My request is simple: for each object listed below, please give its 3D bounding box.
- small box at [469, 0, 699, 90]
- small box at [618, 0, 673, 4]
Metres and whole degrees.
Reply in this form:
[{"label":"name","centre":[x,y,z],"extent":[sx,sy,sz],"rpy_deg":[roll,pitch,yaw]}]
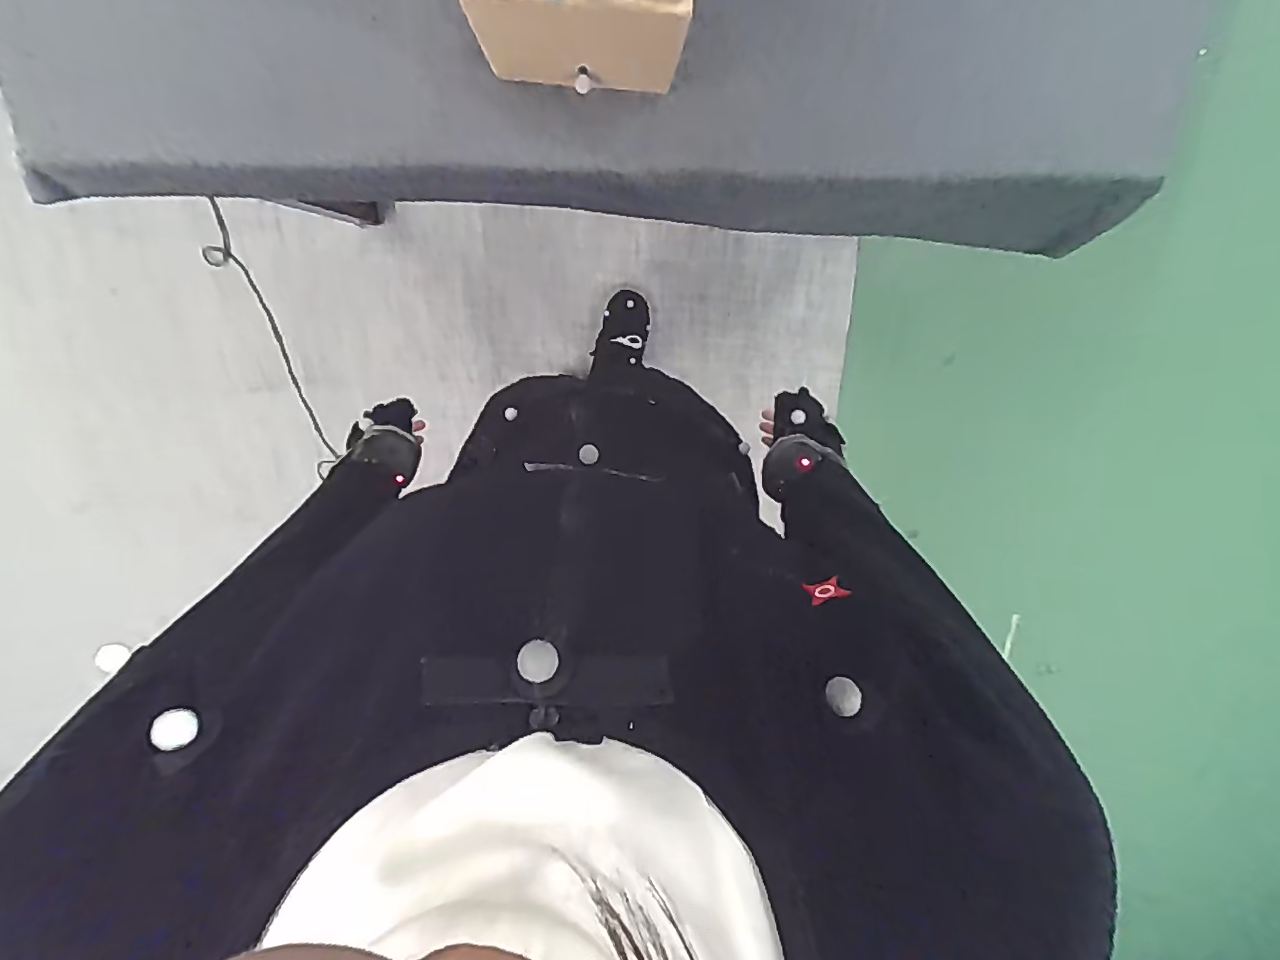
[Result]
[{"label":"small box","centre":[-0.045,-0.456,0.455],"extent":[0.179,0.176,0.168],"rpy_deg":[1,108,-4]},{"label":"small box","centre":[-0.038,-0.415,0.298],"extent":[0.168,0.176,0.179],"rpy_deg":[1,109,-2]}]
